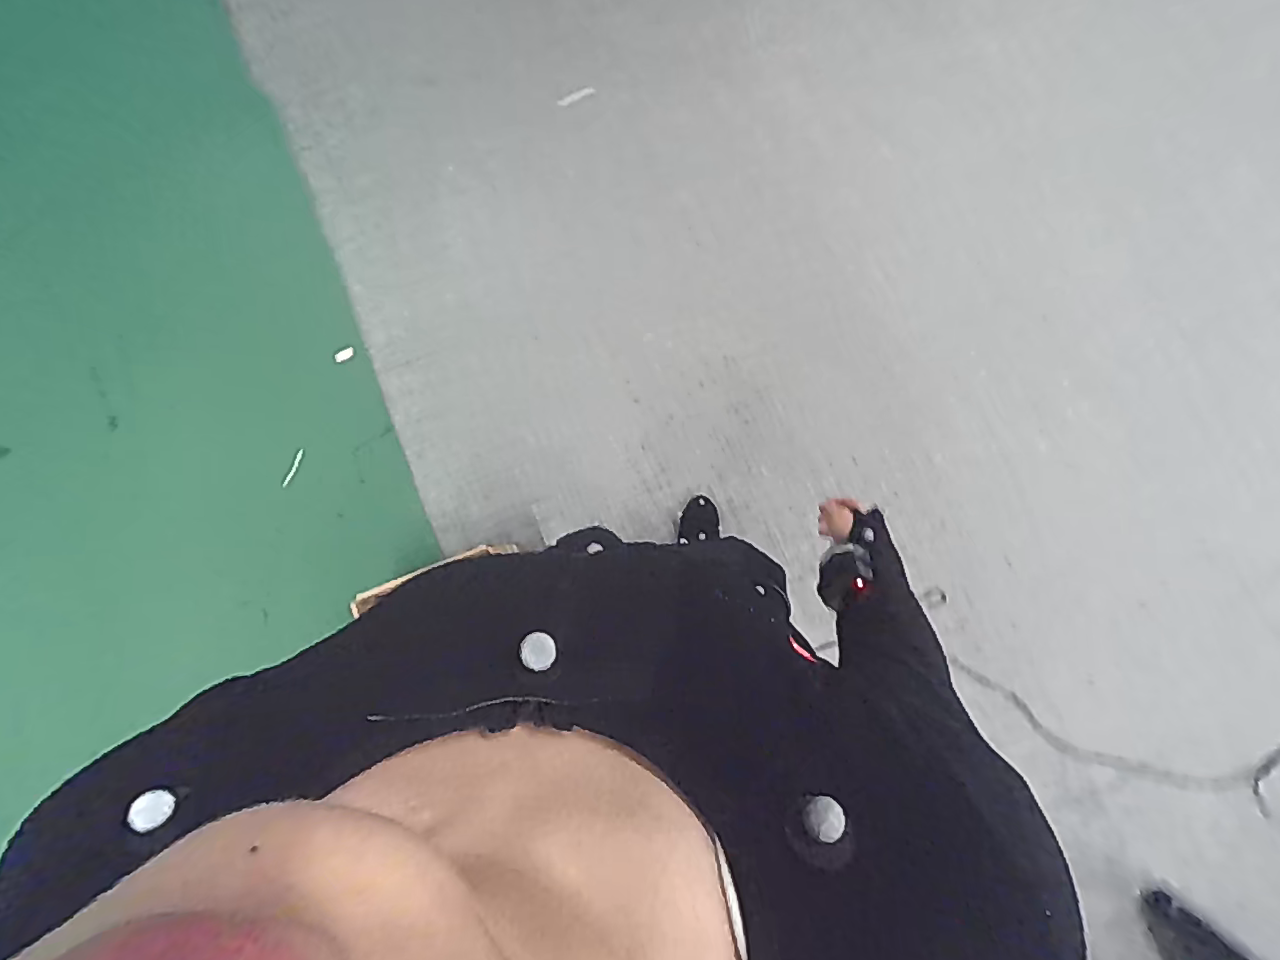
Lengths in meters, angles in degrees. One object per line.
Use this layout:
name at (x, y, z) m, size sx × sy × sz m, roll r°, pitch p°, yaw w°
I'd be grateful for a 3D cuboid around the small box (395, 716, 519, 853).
small box at (-0.394, 0.659, 1.194) m, size 0.168 × 0.176 × 0.179 m, roll -31°, pitch 82°, yaw 1°
